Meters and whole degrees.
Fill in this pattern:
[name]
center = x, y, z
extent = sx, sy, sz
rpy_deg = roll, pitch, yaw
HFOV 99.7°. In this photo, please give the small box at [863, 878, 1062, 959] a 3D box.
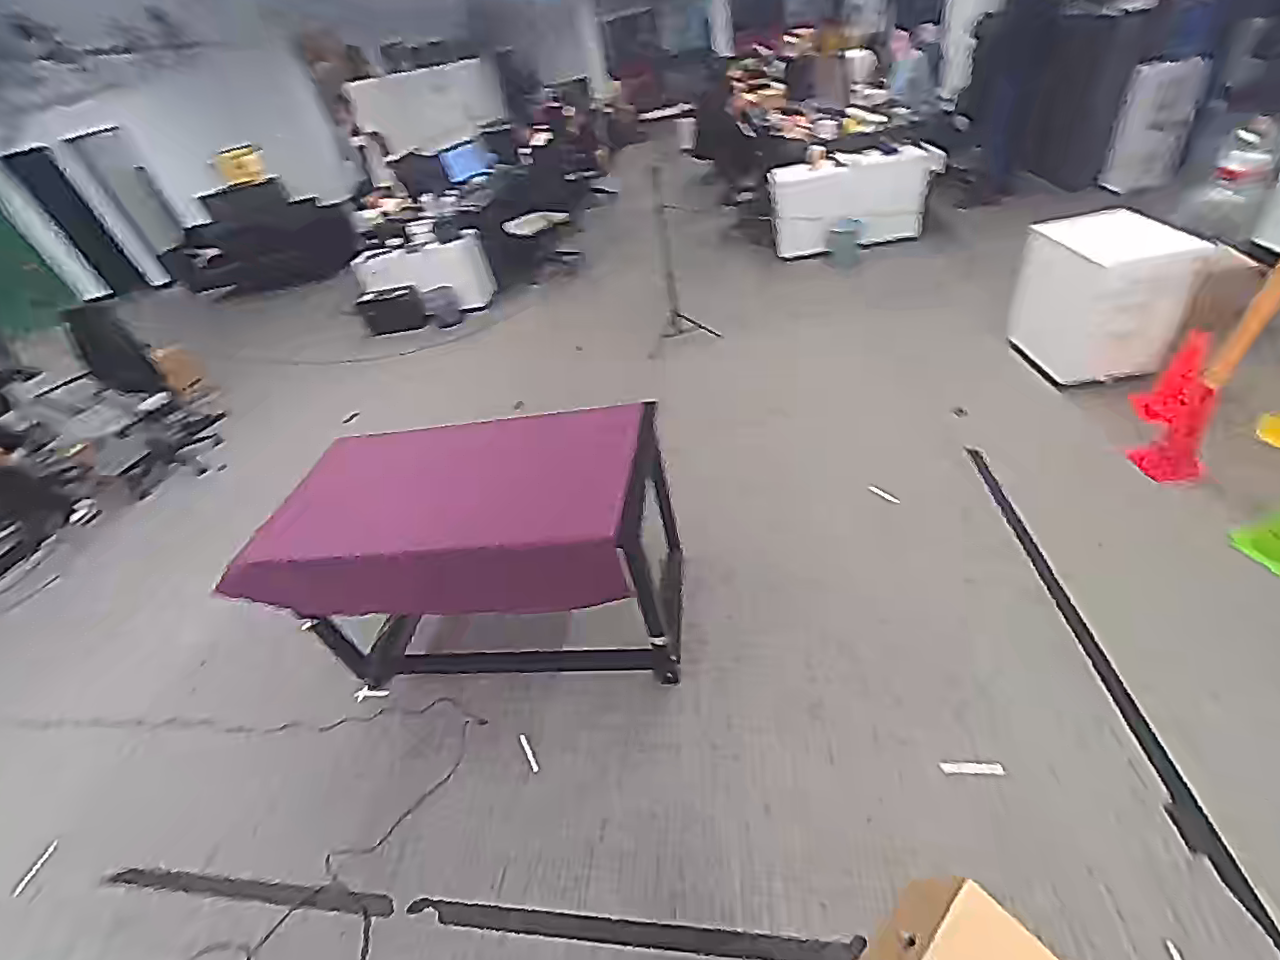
[small box]
center = 0.314, 0.520, 0.511
extent = 0.179, 0.176, 0.168
rpy_deg = -40, 59, -22
